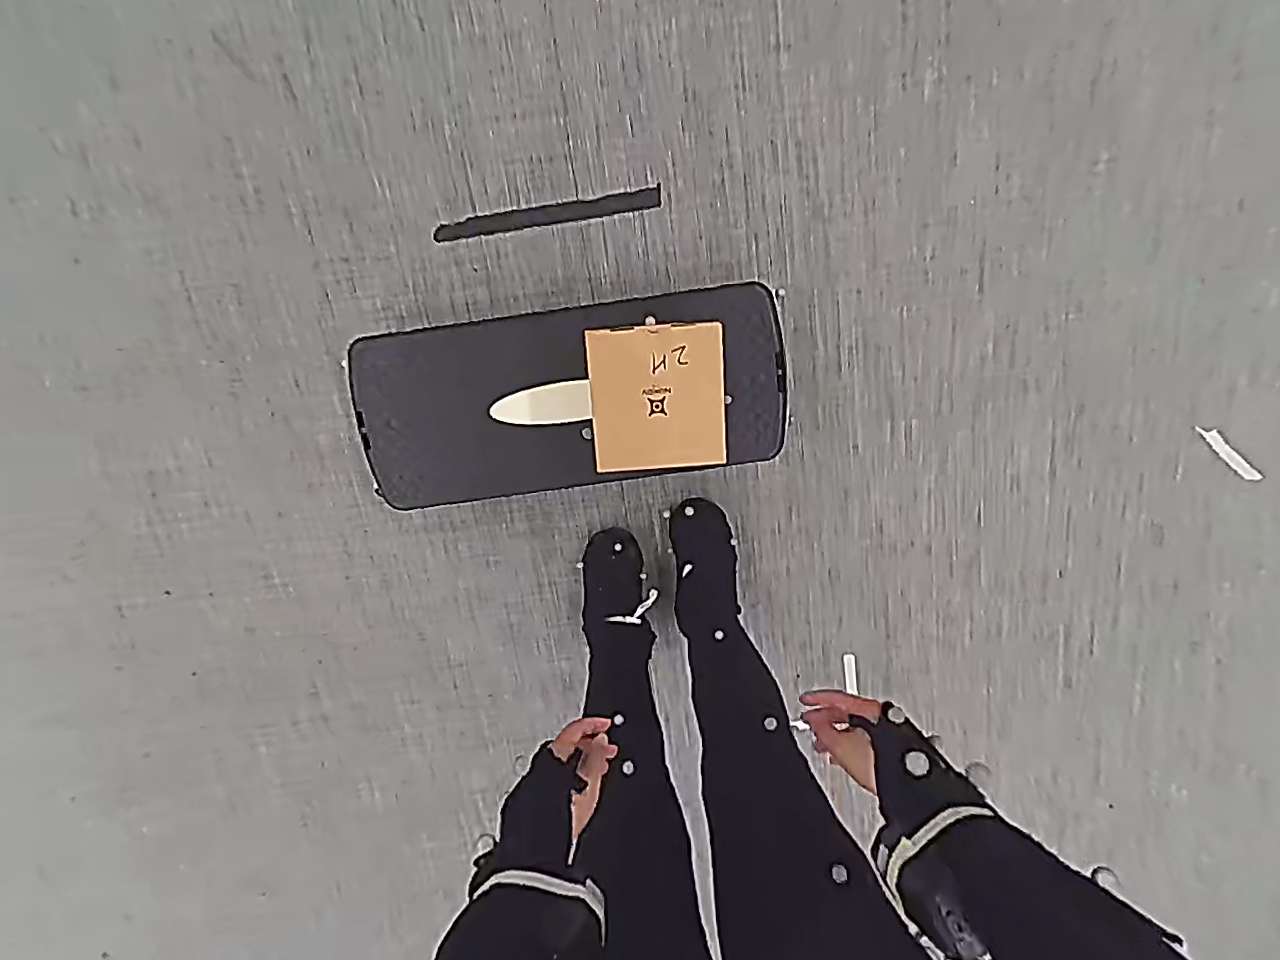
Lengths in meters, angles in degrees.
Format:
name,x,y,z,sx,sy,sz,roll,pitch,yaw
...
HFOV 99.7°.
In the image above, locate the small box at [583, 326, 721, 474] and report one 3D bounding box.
name,x,y,z,sx,sy,sz,roll,pitch,yaw
small box,0.017,-0.114,0.737,0.168,0.176,0.179,-4,103,-1
